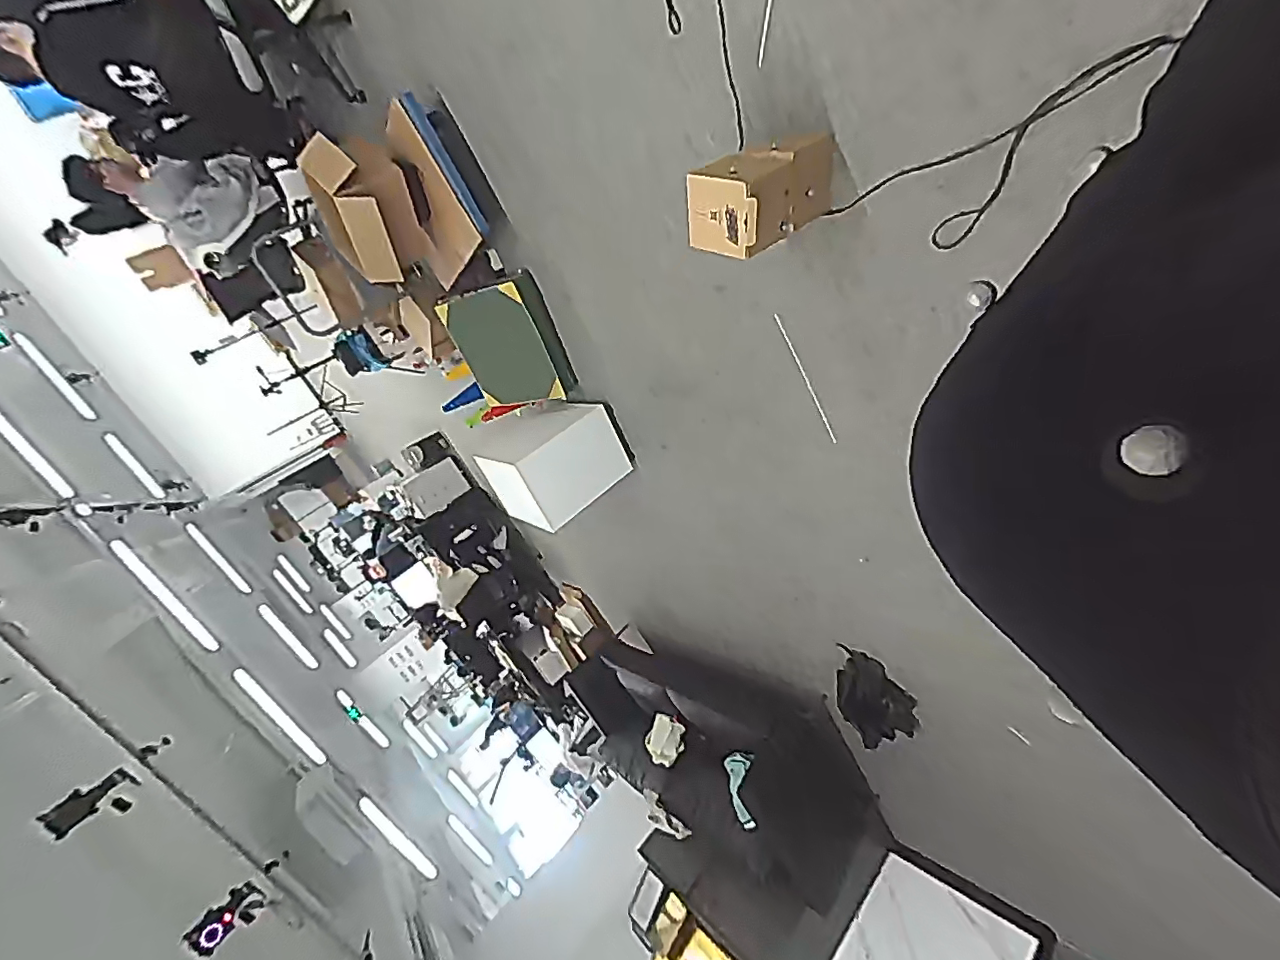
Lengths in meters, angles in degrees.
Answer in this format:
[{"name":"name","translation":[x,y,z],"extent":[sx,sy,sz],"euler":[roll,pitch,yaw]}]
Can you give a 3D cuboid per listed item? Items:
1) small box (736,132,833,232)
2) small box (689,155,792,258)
[{"name":"small box","translation":[0.359,-0.737,1.335],"extent":[0.168,0.176,0.179],"euler":[28,144,39]},{"name":"small box","translation":[0.237,-0.647,1.269],"extent":[0.179,0.176,0.168],"euler":[32,146,35]}]
